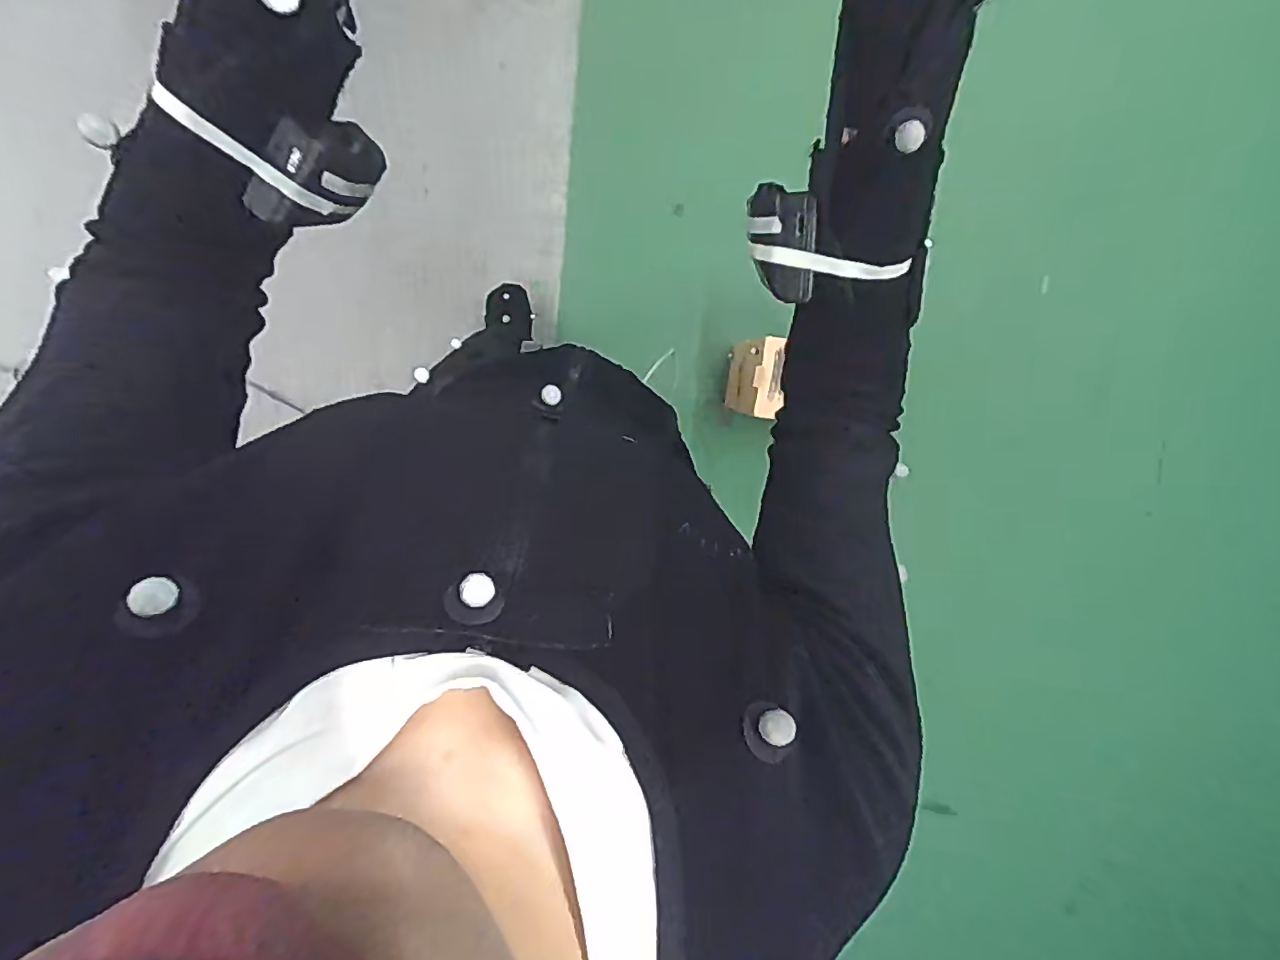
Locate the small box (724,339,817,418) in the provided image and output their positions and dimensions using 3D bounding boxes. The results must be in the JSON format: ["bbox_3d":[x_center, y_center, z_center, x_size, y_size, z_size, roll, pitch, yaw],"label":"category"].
[{"bbox_3d":[0.317,-0.253,1.356,0.179,0.176,0.168,8,101,-3],"label":"small box"}]
